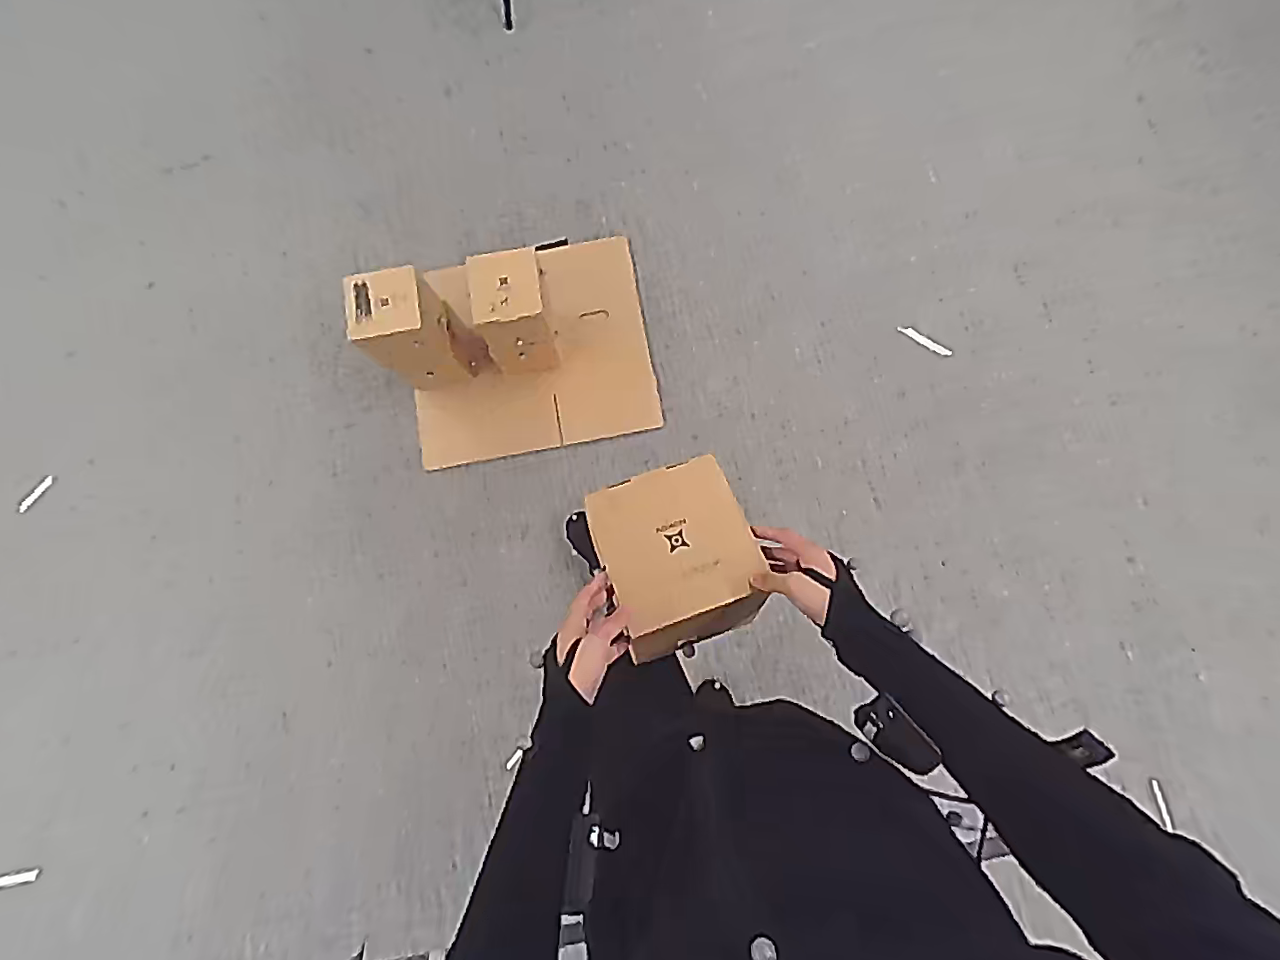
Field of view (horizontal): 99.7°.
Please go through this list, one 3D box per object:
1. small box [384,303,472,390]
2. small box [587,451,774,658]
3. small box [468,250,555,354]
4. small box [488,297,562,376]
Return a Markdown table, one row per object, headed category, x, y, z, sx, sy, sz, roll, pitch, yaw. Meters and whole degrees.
| category | x | y | z | sx | sy | sz | roll | pitch | yaw |
| --- | --- | --- | --- | --- | --- | --- | --- | --- | --- |
| small box | -0.581 | -0.364 | 1.503 | 0.179 | 0.176 | 0.168 | -11 | 80 | 1 |
| small box | 0.041 | 0.097 | 0.670 | 0.168 | 0.176 | 0.179 | -18 | 62 | -8 |
| small box | -0.314 | -0.436 | 1.342 | 0.168 | 0.176 | 0.179 | -9 | 81 | 0 |
| small box | -0.318 | -0.405 | 1.504 | 0.179 | 0.176 | 0.168 | -9 | 81 | 0 |
